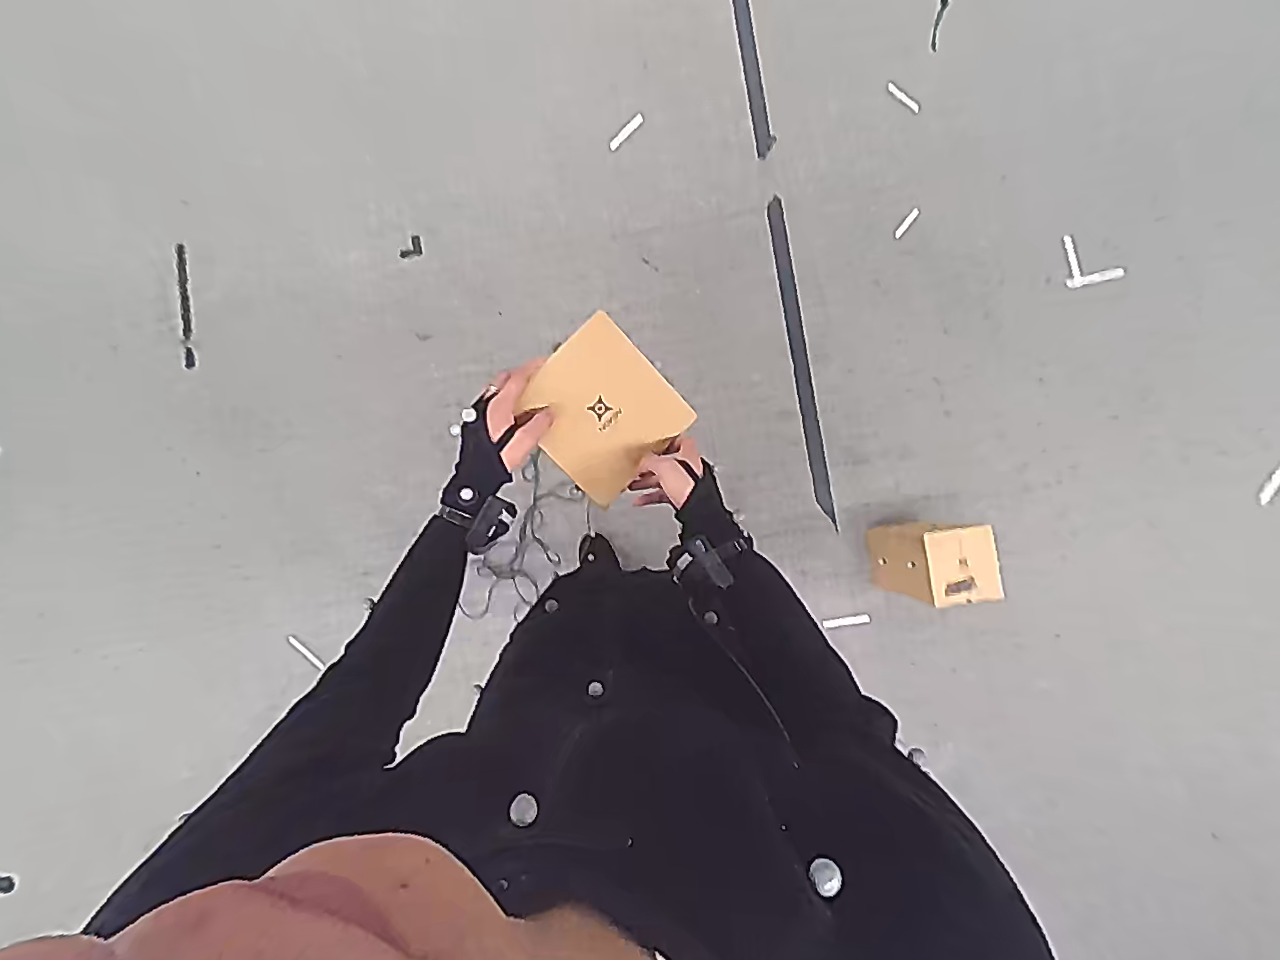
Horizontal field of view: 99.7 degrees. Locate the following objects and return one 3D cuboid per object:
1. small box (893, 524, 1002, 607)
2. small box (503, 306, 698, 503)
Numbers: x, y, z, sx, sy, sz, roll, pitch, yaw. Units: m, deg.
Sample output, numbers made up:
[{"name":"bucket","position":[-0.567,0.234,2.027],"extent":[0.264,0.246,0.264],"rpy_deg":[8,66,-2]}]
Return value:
[{"name":"small box","position":[0.757,0.208,1.349],"extent":[0.168,0.176,0.179],"rpy_deg":[-8,86,0]},{"name":"small box","position":[-0.058,-0.094,0.712],"extent":[0.168,0.176,0.179],"rpy_deg":[-45,102,-3]}]
